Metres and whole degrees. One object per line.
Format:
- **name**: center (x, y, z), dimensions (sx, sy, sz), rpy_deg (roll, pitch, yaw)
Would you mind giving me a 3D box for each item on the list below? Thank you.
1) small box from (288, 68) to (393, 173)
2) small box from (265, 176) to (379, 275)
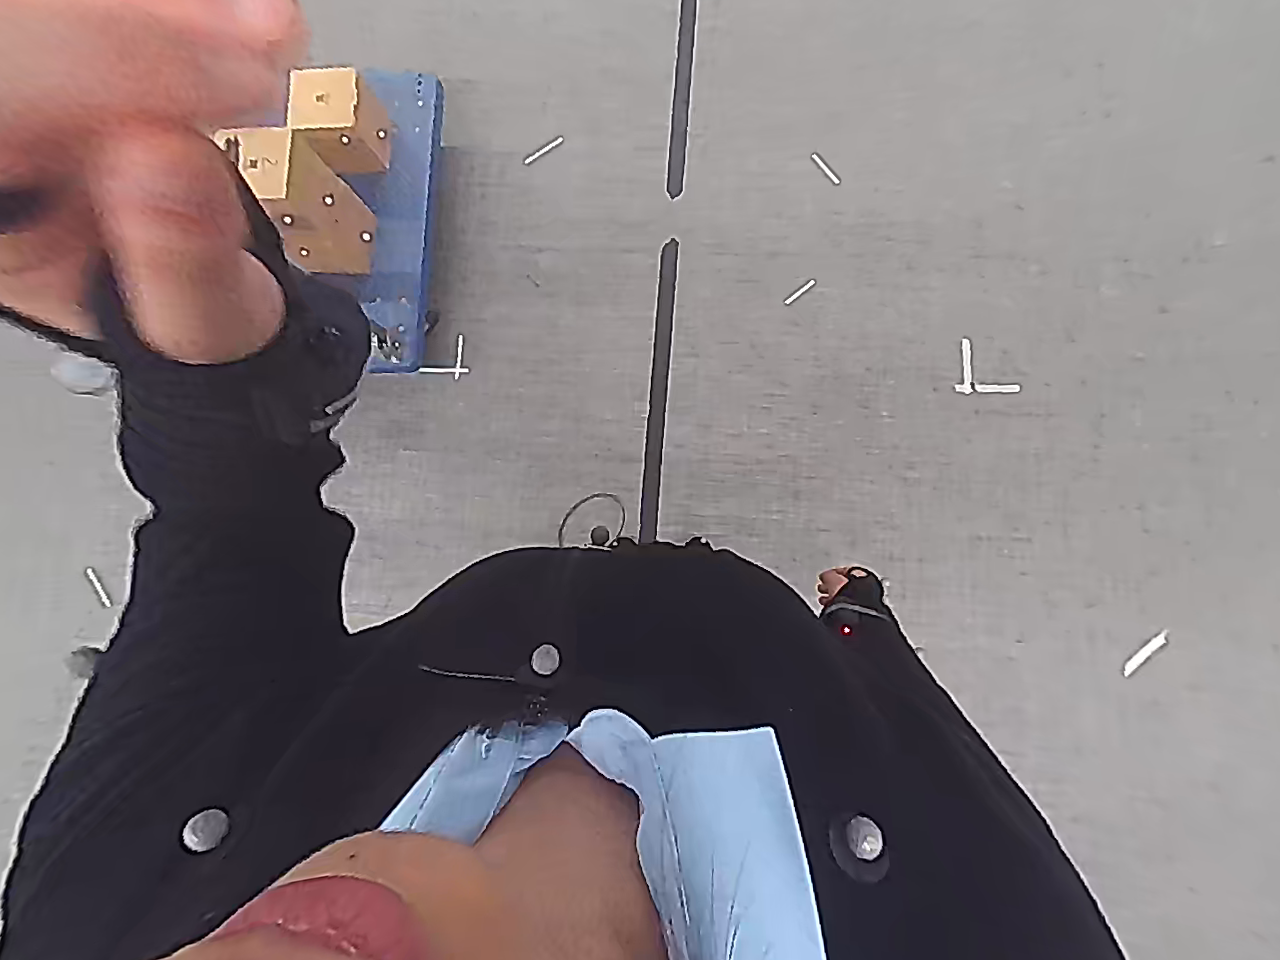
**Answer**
- **small box**: center (-0.781, -0.937, 1.423), dimensions (0.179, 0.176, 0.168), rpy_deg (-1, 83, 3)
- **small box**: center (-0.806, -0.646, 1.386), dimensions (0.179, 0.176, 0.168), rpy_deg (5, 84, 3)
